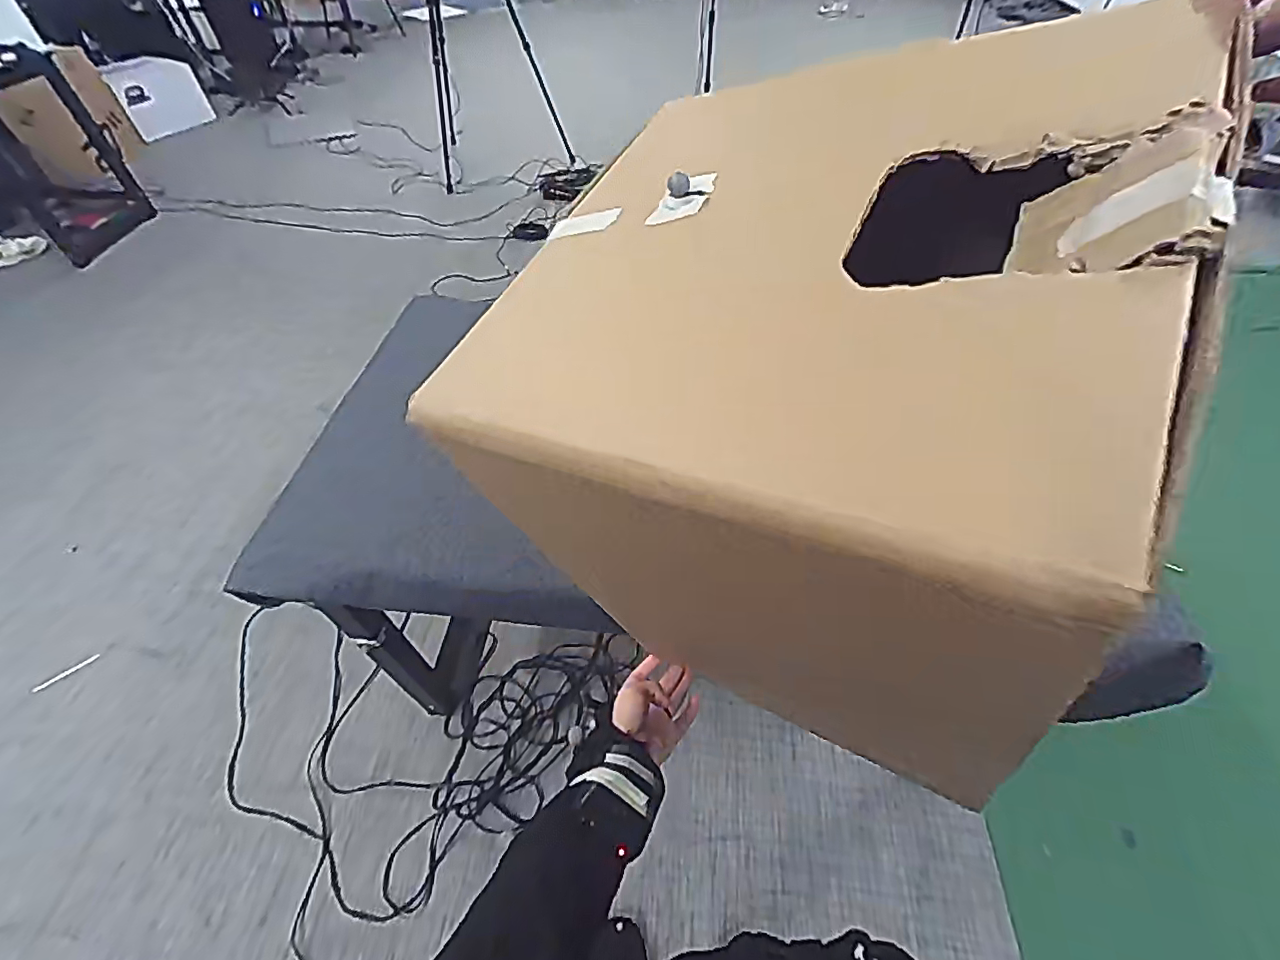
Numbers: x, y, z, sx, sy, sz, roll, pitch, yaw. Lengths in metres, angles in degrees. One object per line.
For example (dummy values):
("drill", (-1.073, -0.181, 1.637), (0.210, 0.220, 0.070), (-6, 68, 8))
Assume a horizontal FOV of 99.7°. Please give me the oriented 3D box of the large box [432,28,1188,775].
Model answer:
("large box", (0.135, -0.018, 0.426), (0.320, 0.408, 0.320), (16, 64, 33))
